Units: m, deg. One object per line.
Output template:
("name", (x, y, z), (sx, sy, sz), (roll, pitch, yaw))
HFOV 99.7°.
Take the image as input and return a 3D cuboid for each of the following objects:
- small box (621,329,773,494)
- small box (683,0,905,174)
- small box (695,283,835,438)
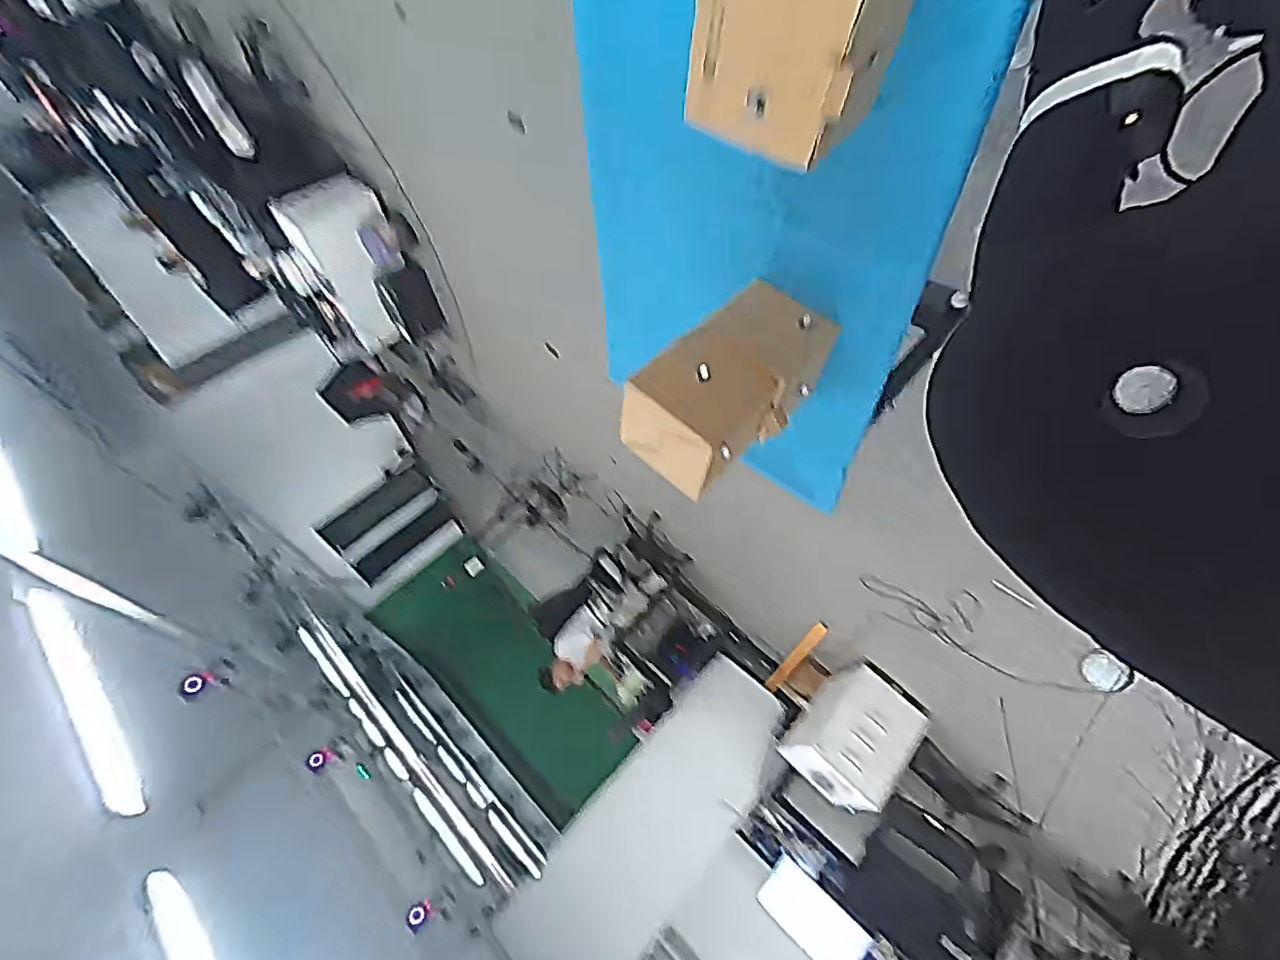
("small box", (0.086, -0.108, 0.902), (0.179, 0.176, 0.168), (38, 154, 16))
("small box", (0.165, -0.479, 0.592), (0.176, 0.179, 0.168), (33, 152, 14))
("small box", (0.206, -0.207, 0.959), (0.179, 0.176, 0.168), (38, 153, 20))
